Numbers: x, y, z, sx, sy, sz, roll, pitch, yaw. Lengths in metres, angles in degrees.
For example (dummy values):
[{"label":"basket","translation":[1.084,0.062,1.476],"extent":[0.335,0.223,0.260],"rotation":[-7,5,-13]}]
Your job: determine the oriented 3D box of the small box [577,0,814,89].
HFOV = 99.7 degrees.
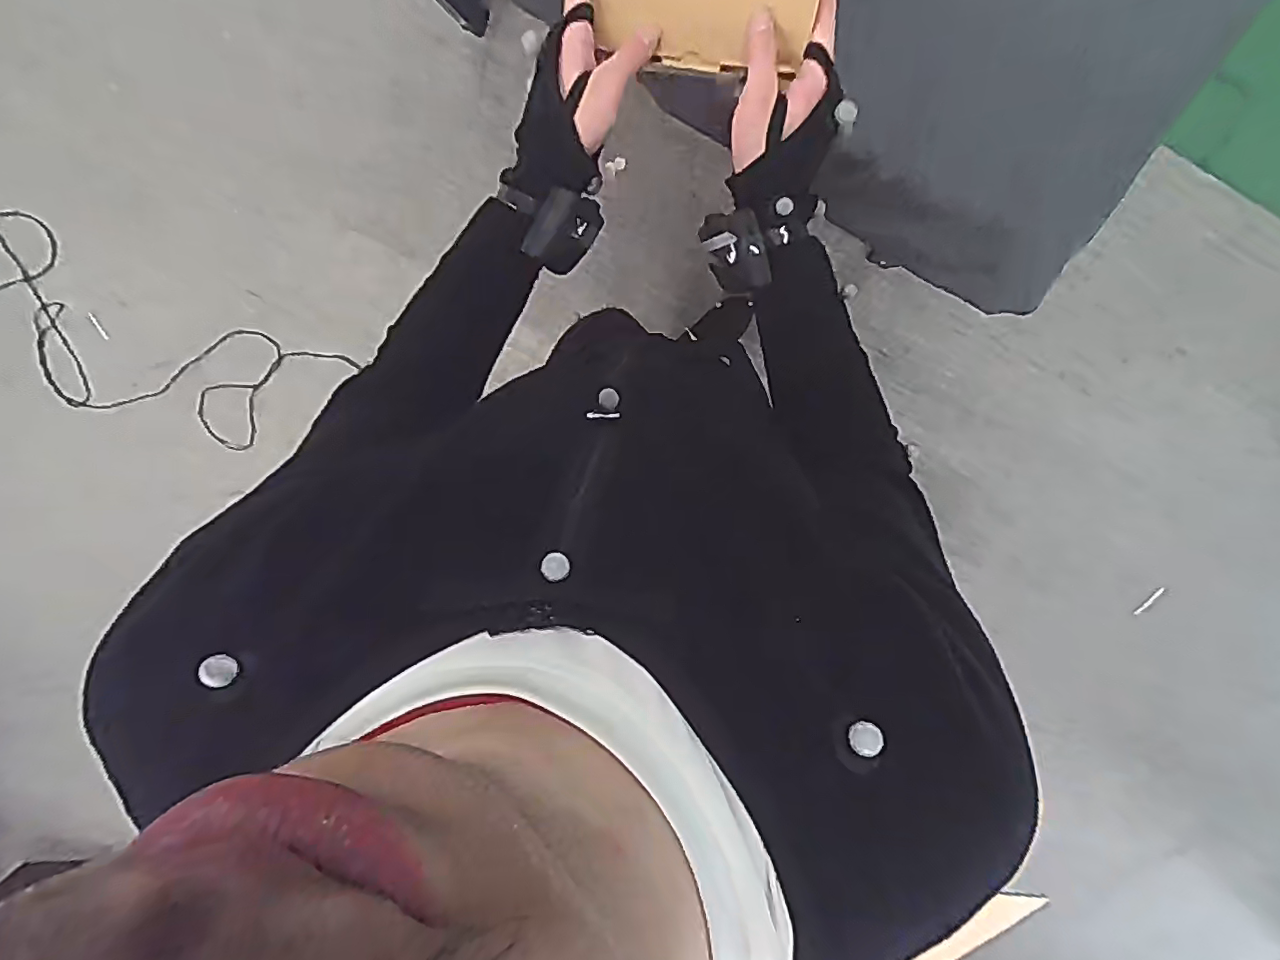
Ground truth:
[{"label":"small box","translation":[0.057,-0.413,0.409],"extent":[0.168,0.176,0.179],"rotation":[11,124,6]}]
